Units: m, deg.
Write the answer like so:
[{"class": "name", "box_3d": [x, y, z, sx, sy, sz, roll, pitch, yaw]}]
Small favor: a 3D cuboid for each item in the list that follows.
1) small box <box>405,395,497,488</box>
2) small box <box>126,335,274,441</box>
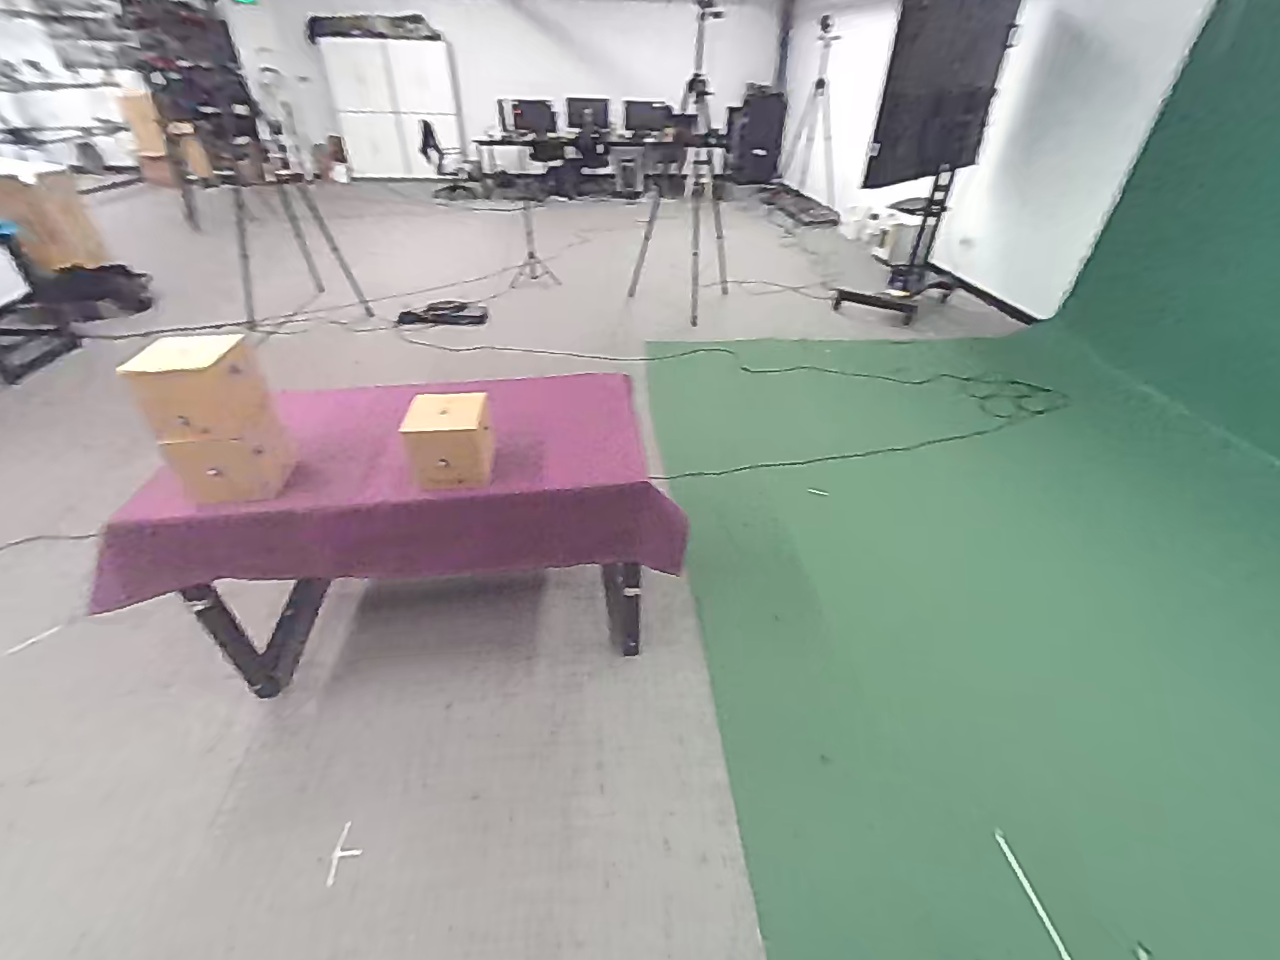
[{"class": "small box", "box_3d": [-0.449, -0.092, 1.317, 0.168, 0.176, 0.179, -2, 37, -5]}, {"class": "small box", "box_3d": [-0.932, -0.200, 1.171, 0.168, 0.176, 0.179, -4, 38, -7]}]
